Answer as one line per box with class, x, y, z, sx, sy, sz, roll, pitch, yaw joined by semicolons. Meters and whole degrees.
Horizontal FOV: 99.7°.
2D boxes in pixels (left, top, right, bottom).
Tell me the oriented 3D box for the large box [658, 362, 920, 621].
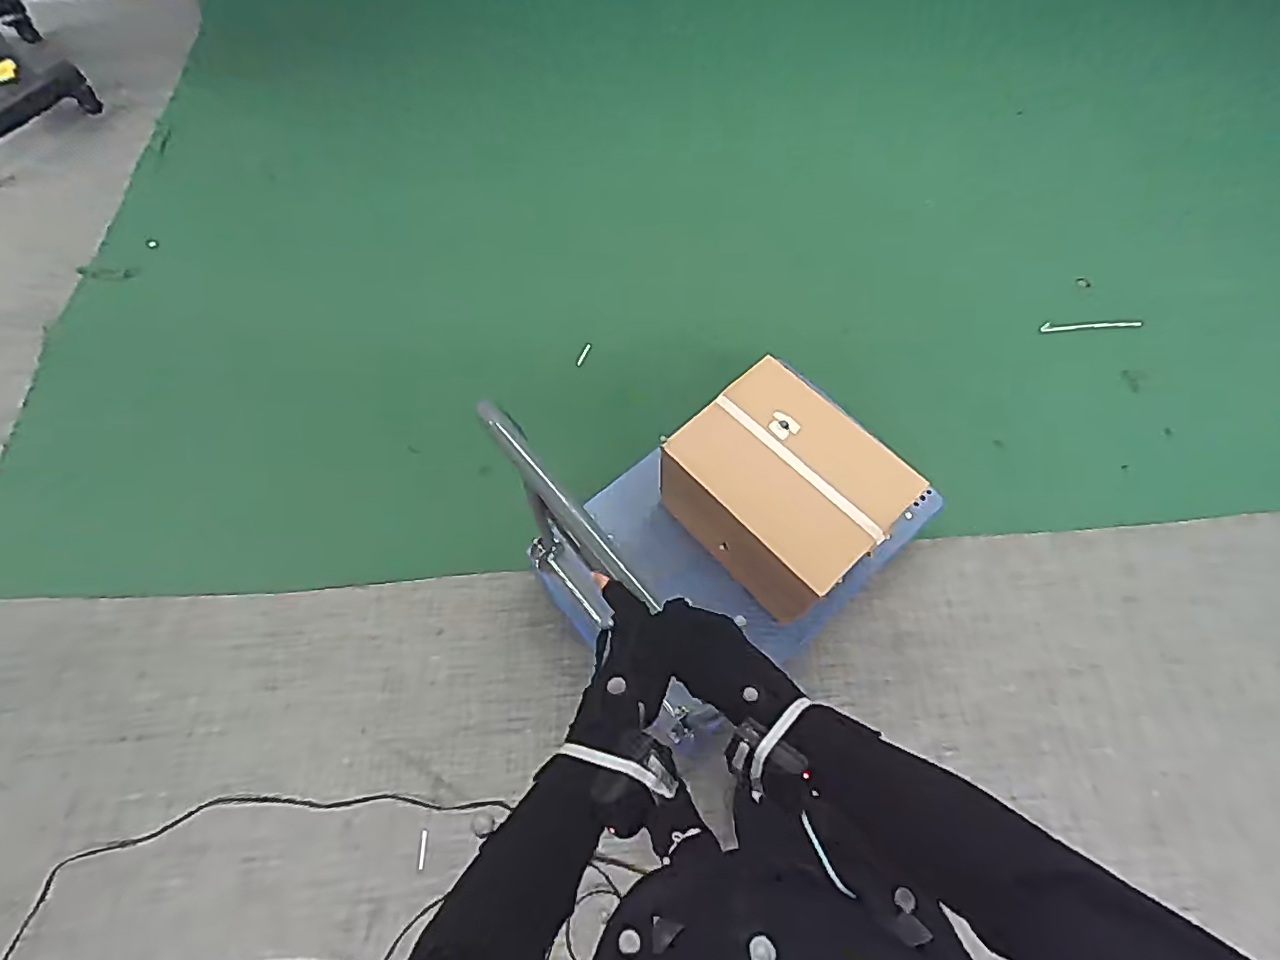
large box;0.287;0.035;1.168;0.320;0.320;0.408;-40;70;-15
